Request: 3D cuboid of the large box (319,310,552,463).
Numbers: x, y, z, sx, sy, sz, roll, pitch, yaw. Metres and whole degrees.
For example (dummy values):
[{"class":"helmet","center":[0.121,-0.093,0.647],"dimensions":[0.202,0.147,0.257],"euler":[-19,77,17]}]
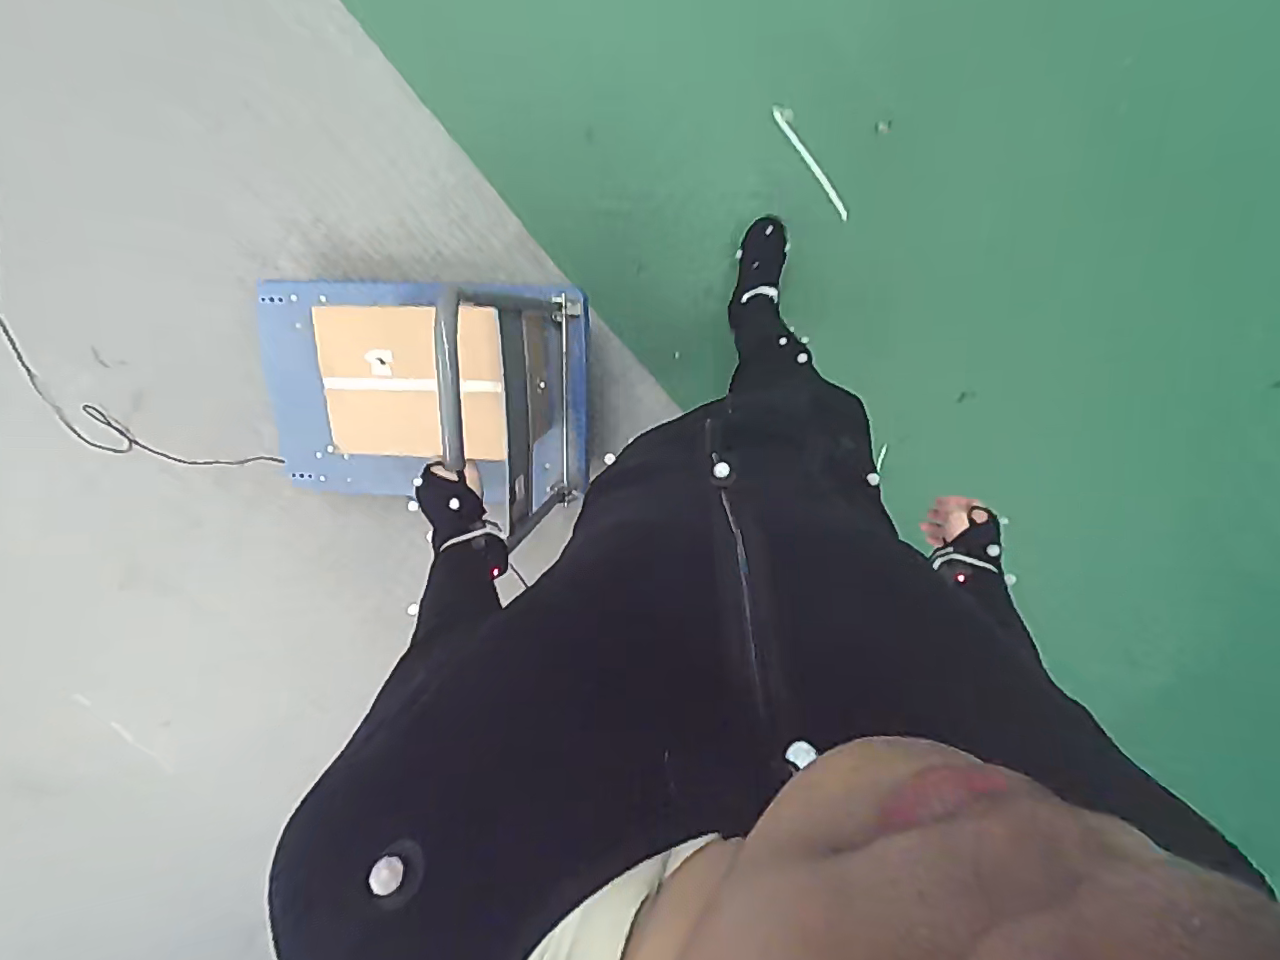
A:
[{"class":"large box","center":[-0.443,-0.232,1.265],"dimensions":[0.408,0.320,0.320],"euler":[2,106,5]}]
